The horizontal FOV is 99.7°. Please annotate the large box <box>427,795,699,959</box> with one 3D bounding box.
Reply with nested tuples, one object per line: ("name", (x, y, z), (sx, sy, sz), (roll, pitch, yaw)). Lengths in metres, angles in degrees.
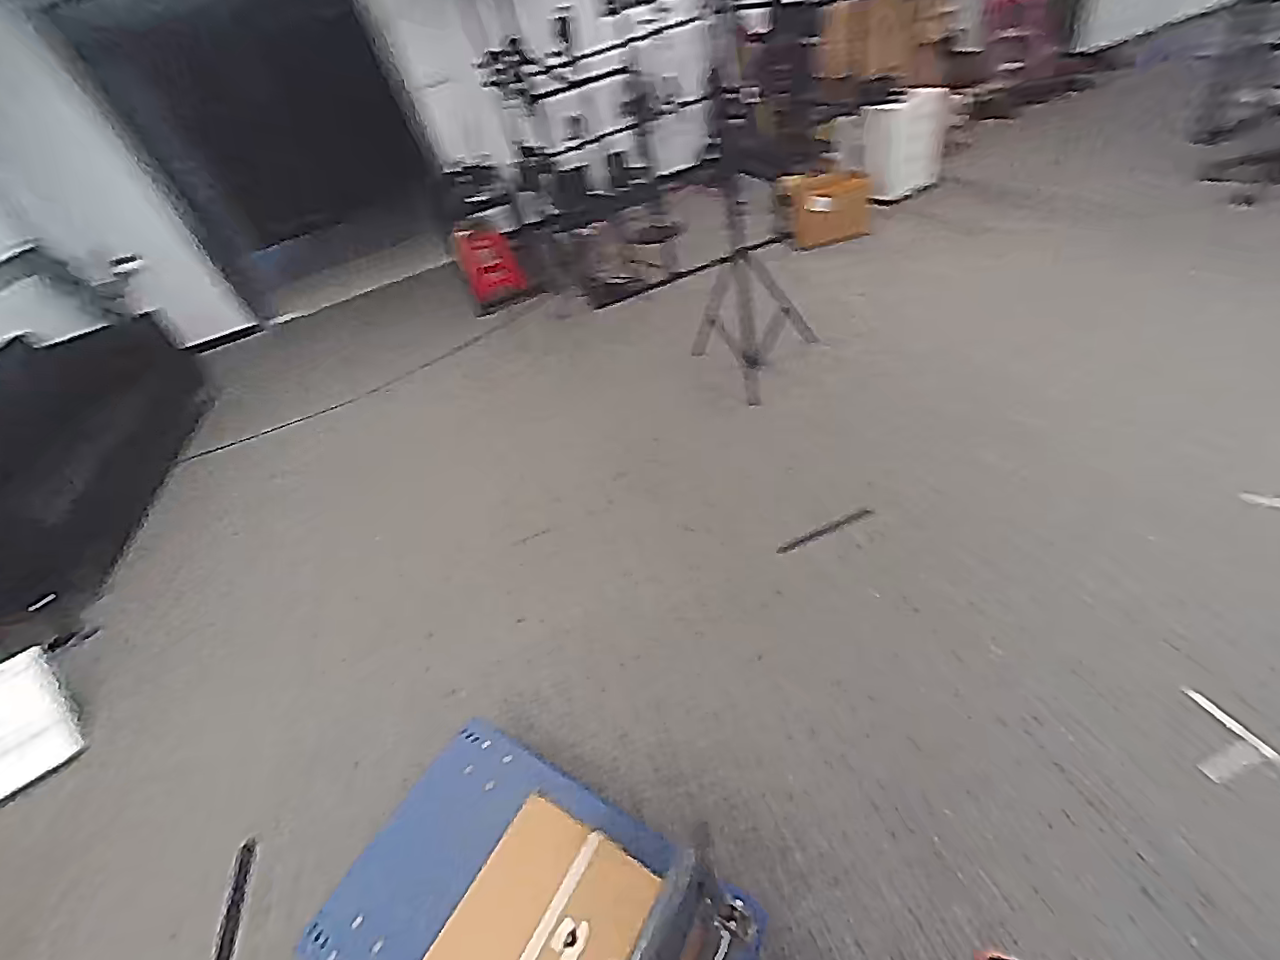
("large box", (-0.141, 0.854, 0.911), (0.320, 0.320, 0.408), (14, 48, 31))
